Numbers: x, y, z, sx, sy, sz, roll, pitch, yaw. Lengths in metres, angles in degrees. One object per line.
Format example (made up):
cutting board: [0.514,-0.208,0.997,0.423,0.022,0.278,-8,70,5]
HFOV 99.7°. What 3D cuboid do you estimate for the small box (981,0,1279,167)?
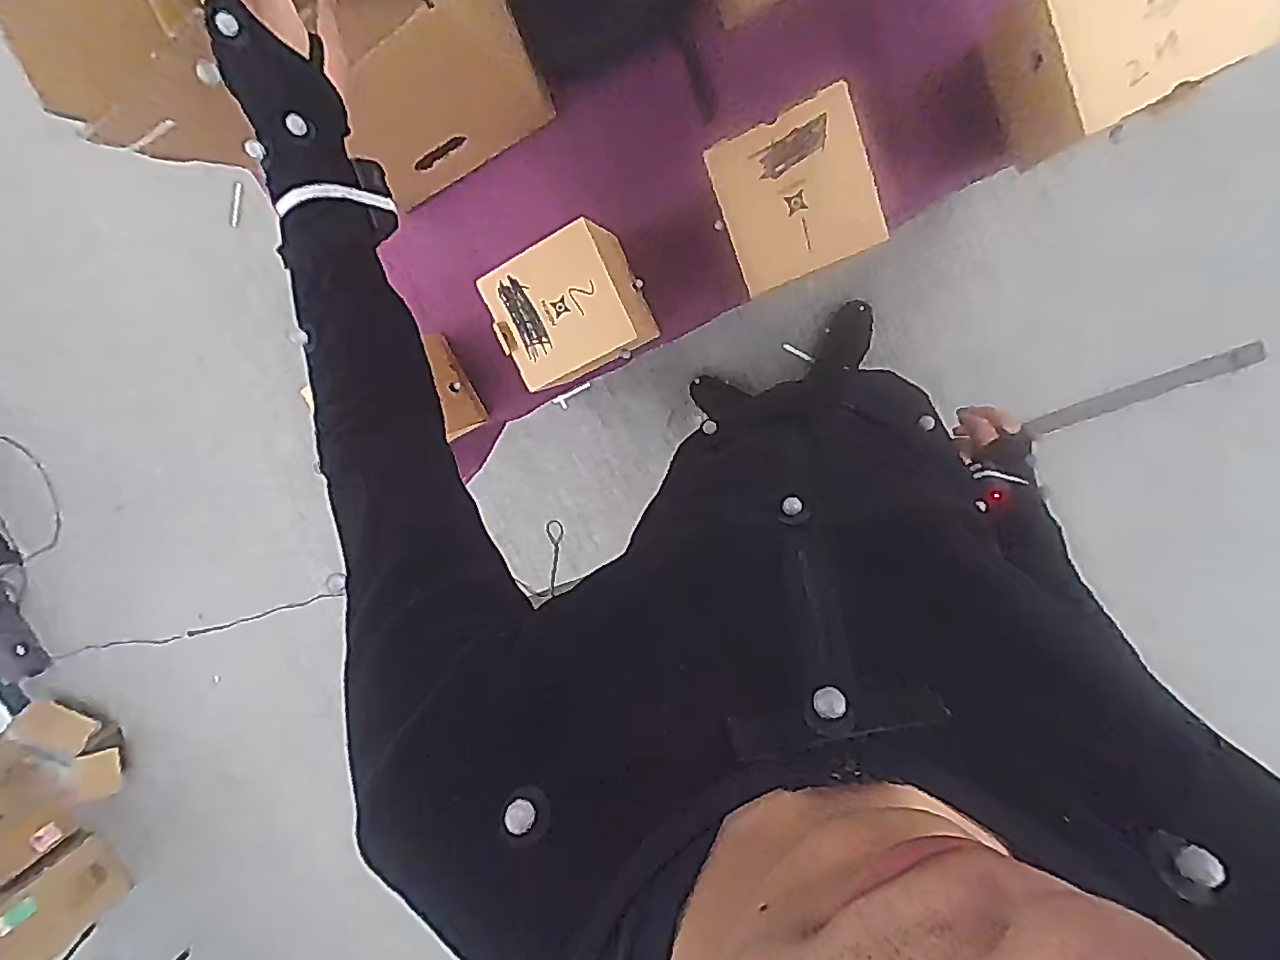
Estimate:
small box: [0.500,-0.477,0.579,0.168,0.176,0.179,-22,100,20]

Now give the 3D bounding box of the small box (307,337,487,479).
small box: [-0.393,-0.124,0.902,0.179,0.176,0.168,-25,99,18]
